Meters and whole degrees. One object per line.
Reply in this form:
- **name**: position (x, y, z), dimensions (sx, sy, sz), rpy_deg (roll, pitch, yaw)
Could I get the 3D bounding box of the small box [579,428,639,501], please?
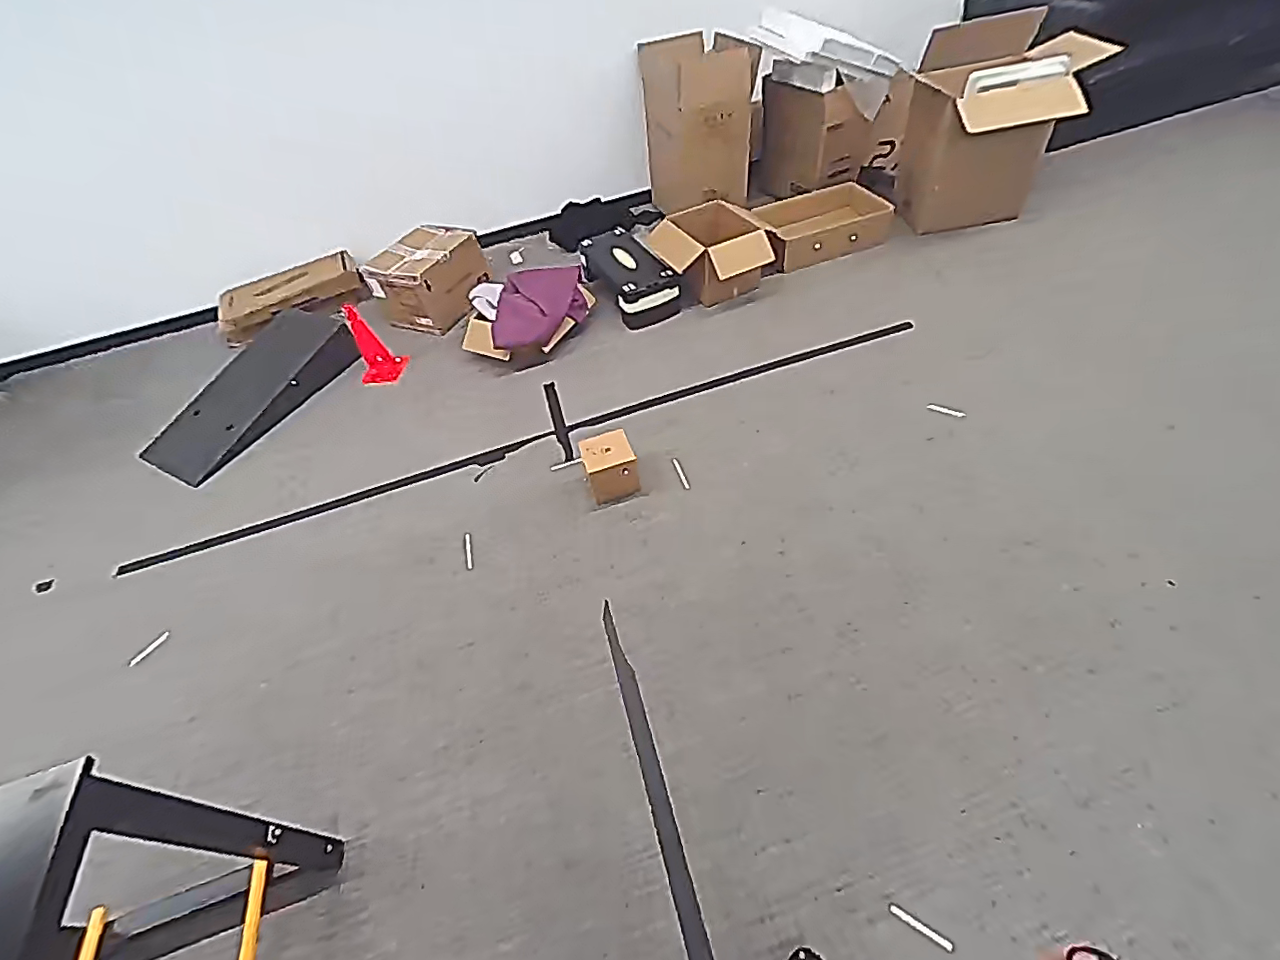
- **small box**: position (-0.107, -0.053, 1.949), dimensions (0.179, 0.176, 0.168), rpy_deg (-18, 49, -6)
